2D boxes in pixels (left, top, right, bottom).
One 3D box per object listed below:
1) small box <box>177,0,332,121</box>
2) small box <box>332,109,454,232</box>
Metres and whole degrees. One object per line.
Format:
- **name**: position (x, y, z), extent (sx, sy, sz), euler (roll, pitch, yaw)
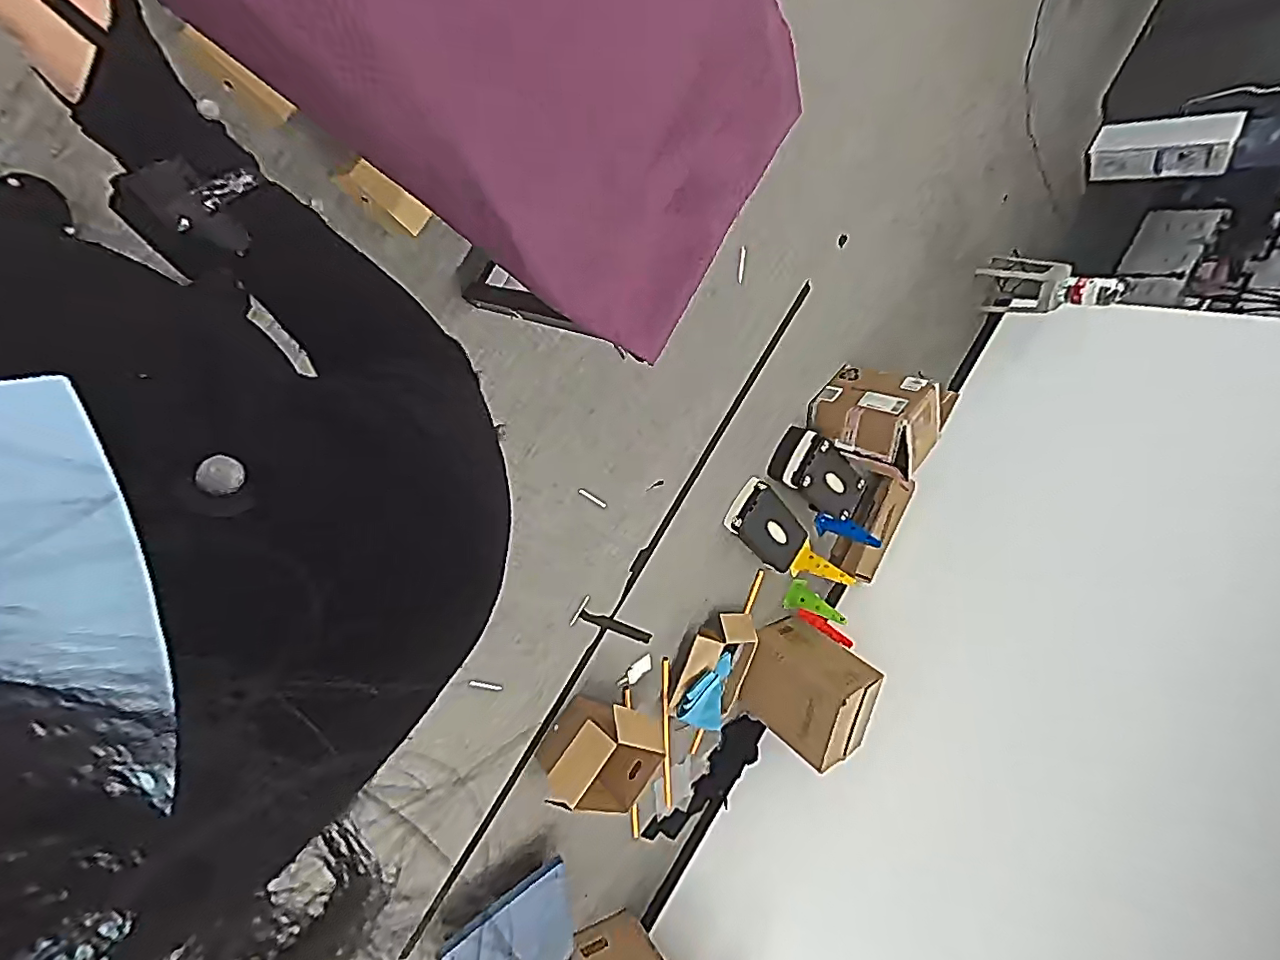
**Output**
- **small box**: position (-0.717, -0.808, 1.004), extent (0.168, 0.176, 0.179), euler (37, 83, -47)
- **small box**: position (-0.561, -0.684, 1.214), extent (0.179, 0.176, 0.168), euler (-57, 136, -7)
